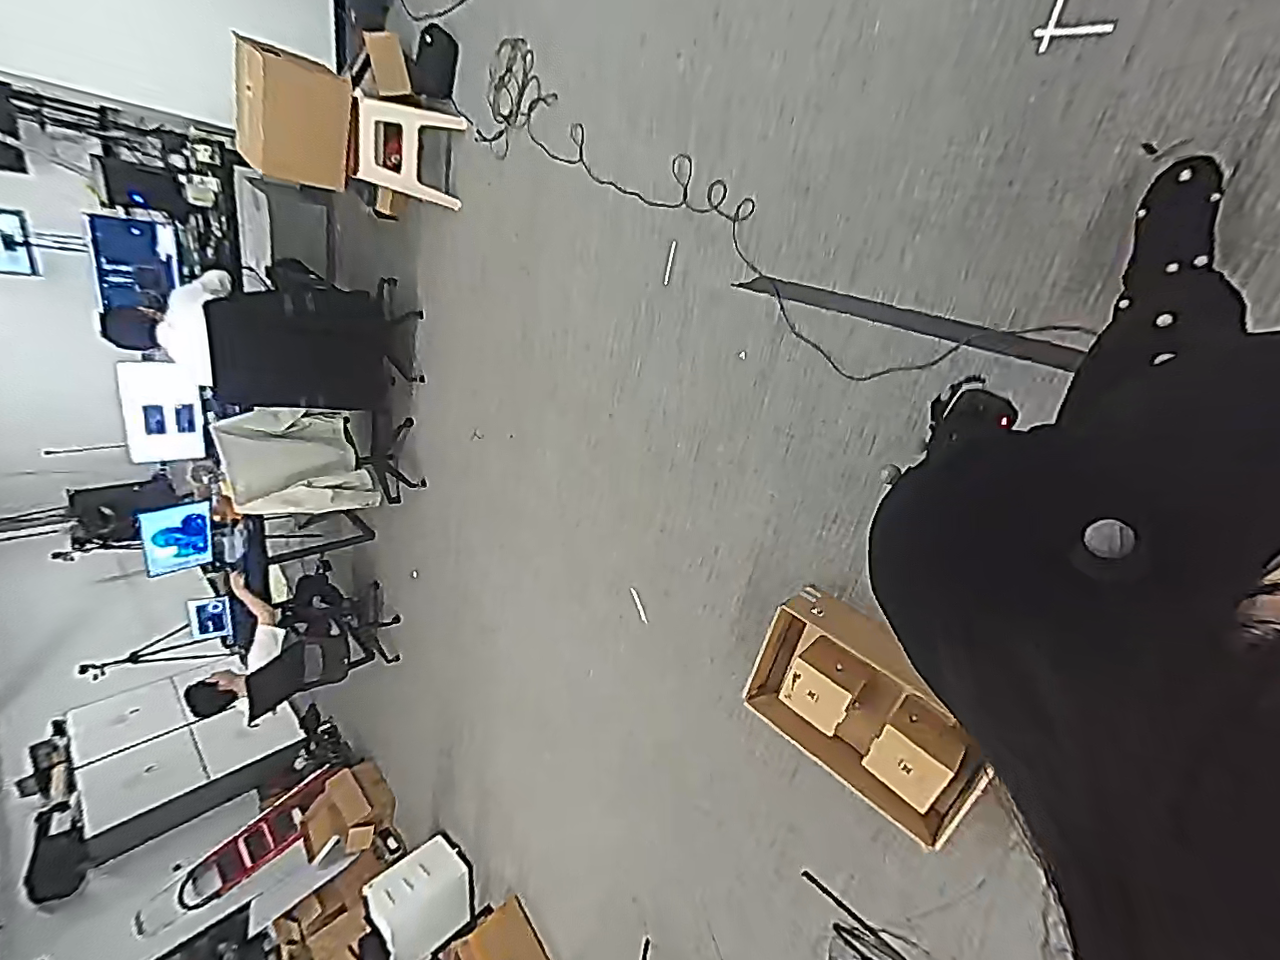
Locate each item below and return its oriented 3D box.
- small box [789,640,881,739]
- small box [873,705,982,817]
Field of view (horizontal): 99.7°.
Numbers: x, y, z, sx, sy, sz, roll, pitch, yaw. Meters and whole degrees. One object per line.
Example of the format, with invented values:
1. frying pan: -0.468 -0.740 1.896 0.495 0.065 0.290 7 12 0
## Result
1. small box: 0.568 0.596 1.564 0.179 0.176 0.168 30 118 32
2. small box: 0.754 0.721 1.417 0.179 0.176 0.168 34 121 33
